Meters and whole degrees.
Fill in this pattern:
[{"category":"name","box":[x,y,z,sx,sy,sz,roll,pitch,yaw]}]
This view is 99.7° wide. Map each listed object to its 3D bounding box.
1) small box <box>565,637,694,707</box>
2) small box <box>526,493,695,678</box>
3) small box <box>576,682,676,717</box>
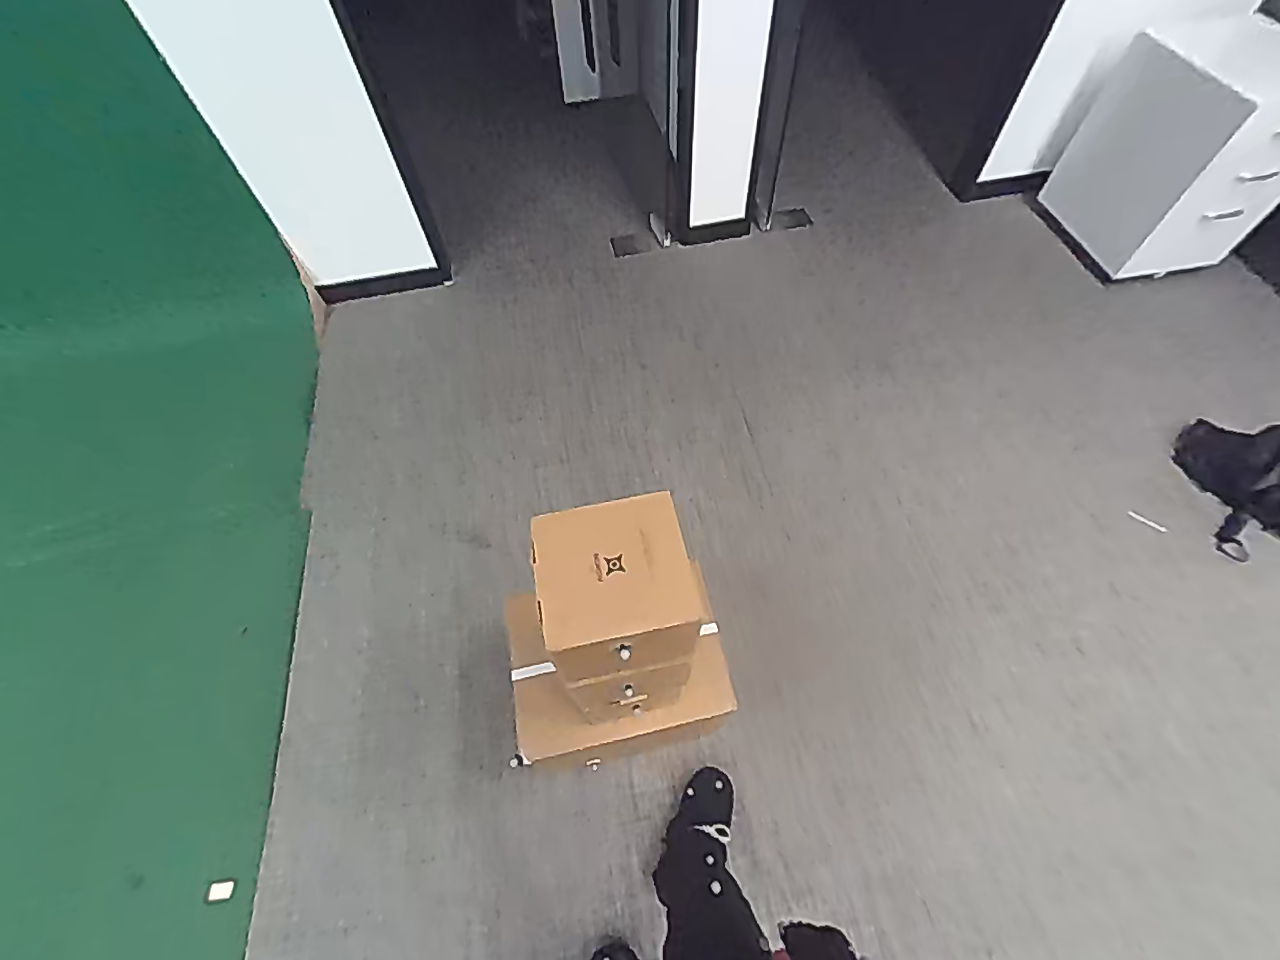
[{"category":"small box","box":[-0.030,0.230,0.821,0.179,0.176,0.168,-13,59,-7]},{"category":"small box","box":[-0.036,0.140,0.686,0.179,0.176,0.168,-10,60,-5]},{"category":"small box","box":[-0.035,0.312,0.963,0.168,0.176,0.179,-13,60,-5]}]
